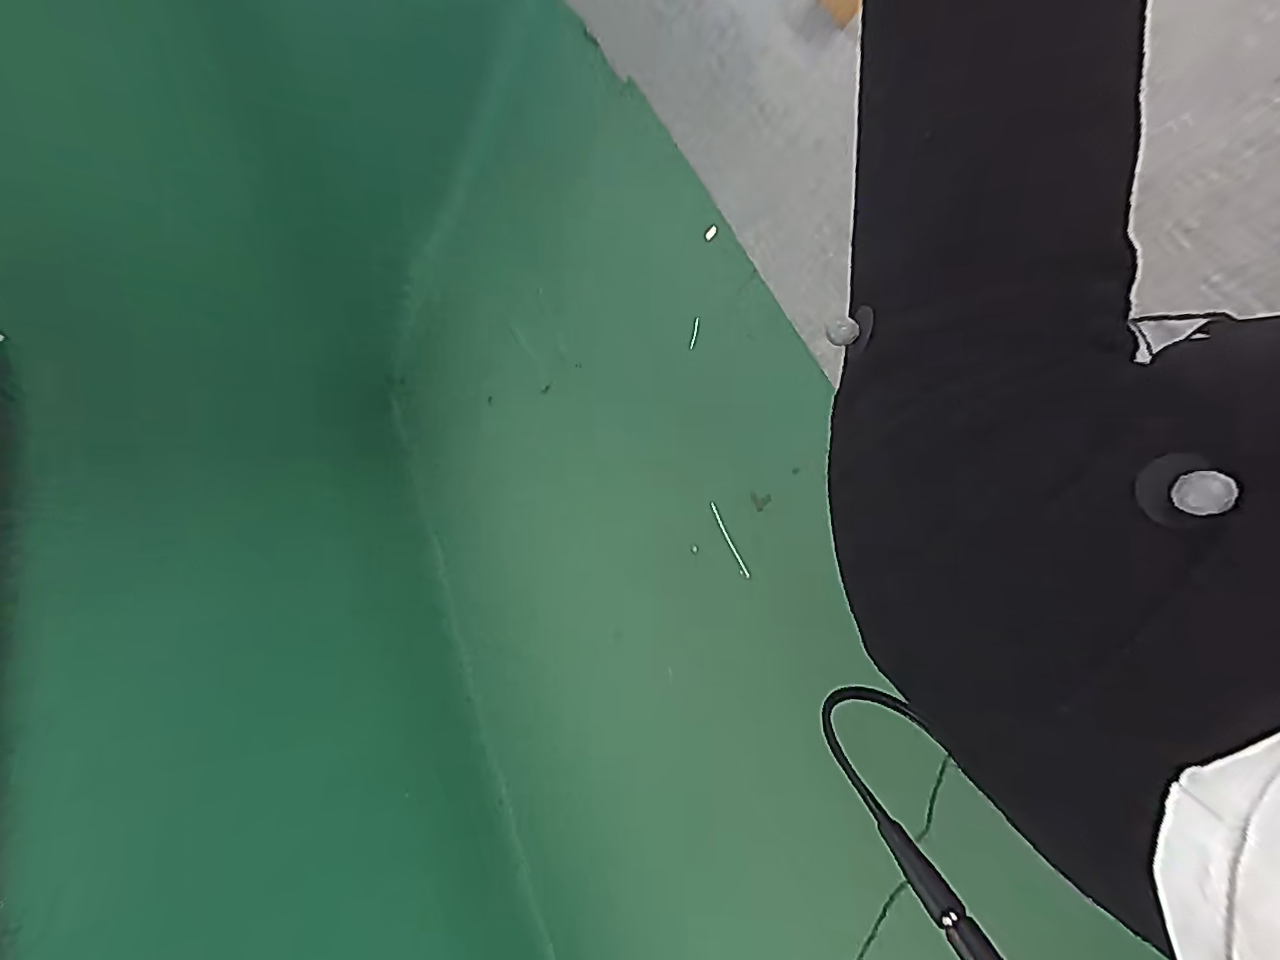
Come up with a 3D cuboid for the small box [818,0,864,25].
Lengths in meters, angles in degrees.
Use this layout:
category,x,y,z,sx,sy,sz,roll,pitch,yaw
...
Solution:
category,x,y,z,sx,sy,sz,roll,pitch,yaw
small box,0.594,-1.505,1.589,0.179,0.176,0.168,-43,63,38
